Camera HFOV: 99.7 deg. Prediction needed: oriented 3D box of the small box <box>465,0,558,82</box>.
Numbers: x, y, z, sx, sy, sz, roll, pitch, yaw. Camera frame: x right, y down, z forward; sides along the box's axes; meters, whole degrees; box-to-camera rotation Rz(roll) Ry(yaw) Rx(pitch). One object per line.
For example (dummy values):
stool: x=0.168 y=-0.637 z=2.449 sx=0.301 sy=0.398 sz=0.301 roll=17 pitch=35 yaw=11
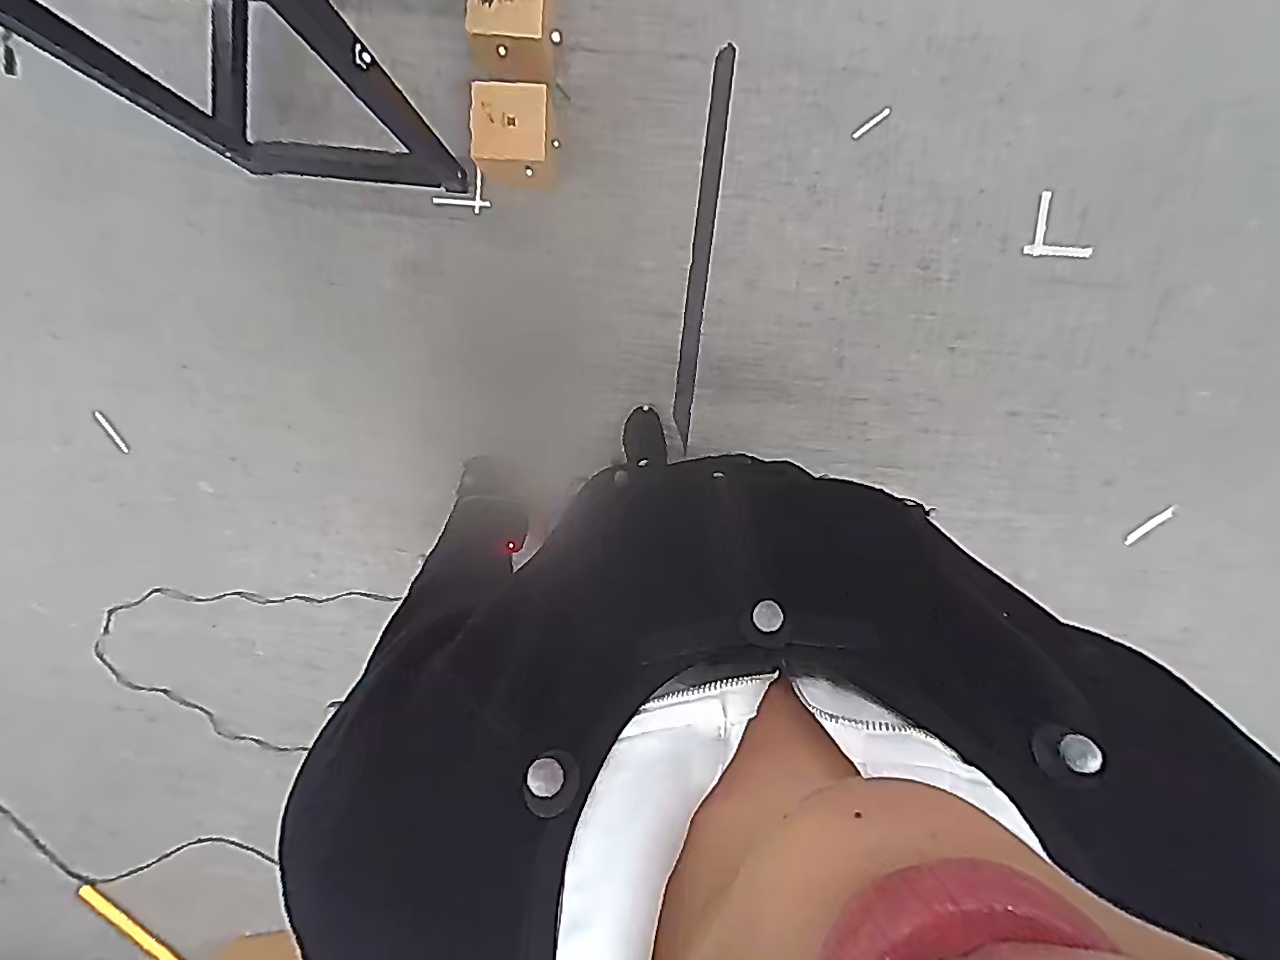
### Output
small box: x=-0.301 y=-1.090 z=1.291 sx=0.179 sy=0.176 sz=0.168 roll=5 pitch=98 yaw=0
